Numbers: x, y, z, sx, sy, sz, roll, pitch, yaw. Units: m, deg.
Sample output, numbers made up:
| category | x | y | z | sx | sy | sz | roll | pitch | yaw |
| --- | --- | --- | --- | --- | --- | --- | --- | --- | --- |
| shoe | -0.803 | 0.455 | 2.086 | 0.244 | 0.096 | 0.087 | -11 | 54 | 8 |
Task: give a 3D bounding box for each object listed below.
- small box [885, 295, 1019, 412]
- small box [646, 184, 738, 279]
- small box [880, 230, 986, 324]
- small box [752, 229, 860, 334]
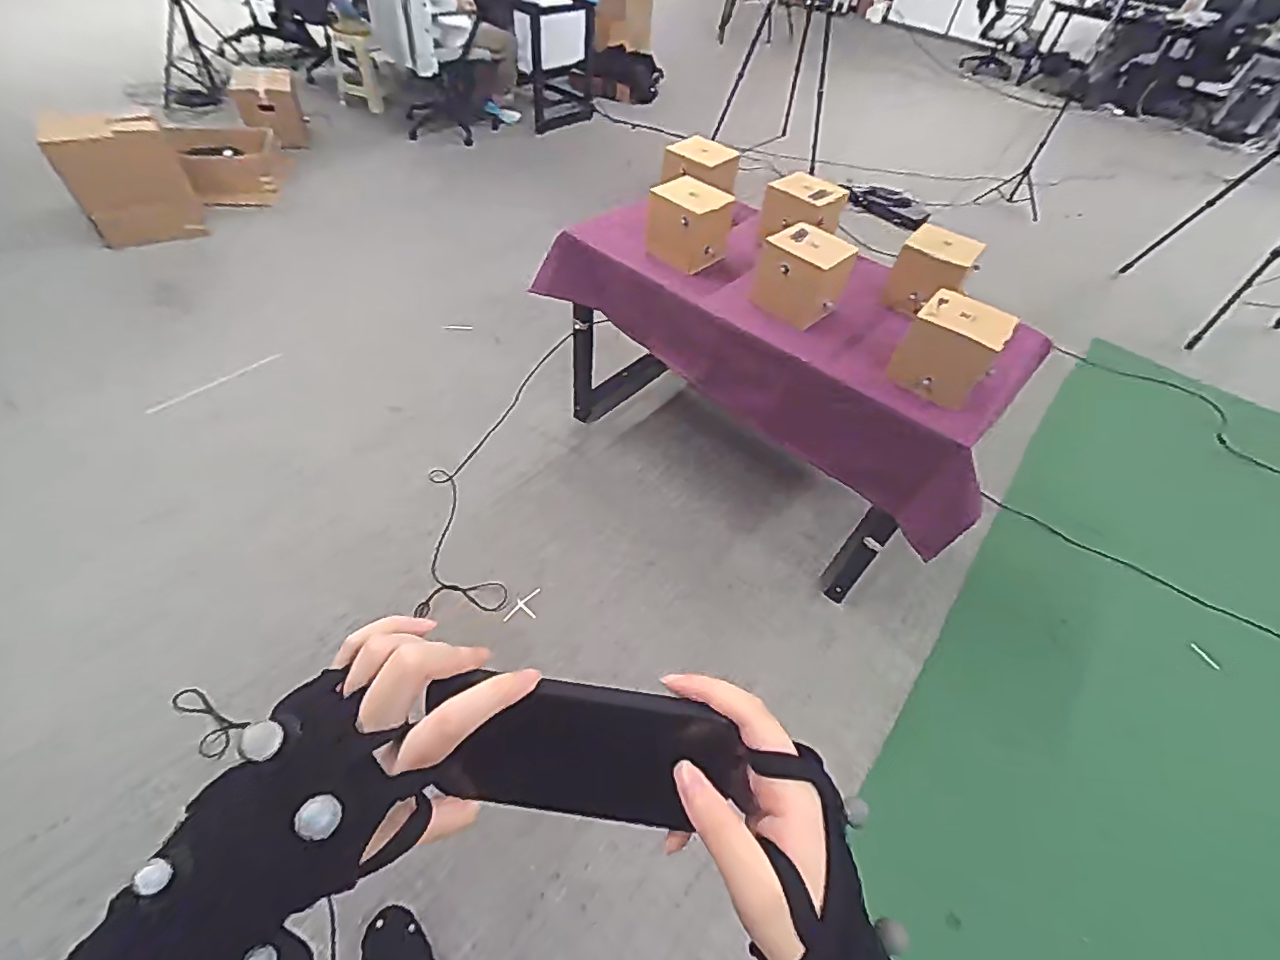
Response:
| category | x | y | z | sx | sy | sz | roll | pitch | yaw |
| --- | --- | --- | --- | --- | --- | --- | --- | --- | --- |
| small box | 0.690 | -0.277 | 1.209 | 0.179 | 0.176 | 0.168 | 35 | 54 | 21 |
| small box | 0.135 | -0.683 | 1.489 | 0.179 | 0.176 | 0.168 | 38 | 55 | 22 |
| small box | 0.769 | -0.529 | 1.432 | 0.168 | 0.176 | 0.179 | 33 | 54 | 21 |
| small box | 0.411 | -0.500 | 1.365 | 0.179 | 0.176 | 0.168 | 39 | 56 | 23 |
